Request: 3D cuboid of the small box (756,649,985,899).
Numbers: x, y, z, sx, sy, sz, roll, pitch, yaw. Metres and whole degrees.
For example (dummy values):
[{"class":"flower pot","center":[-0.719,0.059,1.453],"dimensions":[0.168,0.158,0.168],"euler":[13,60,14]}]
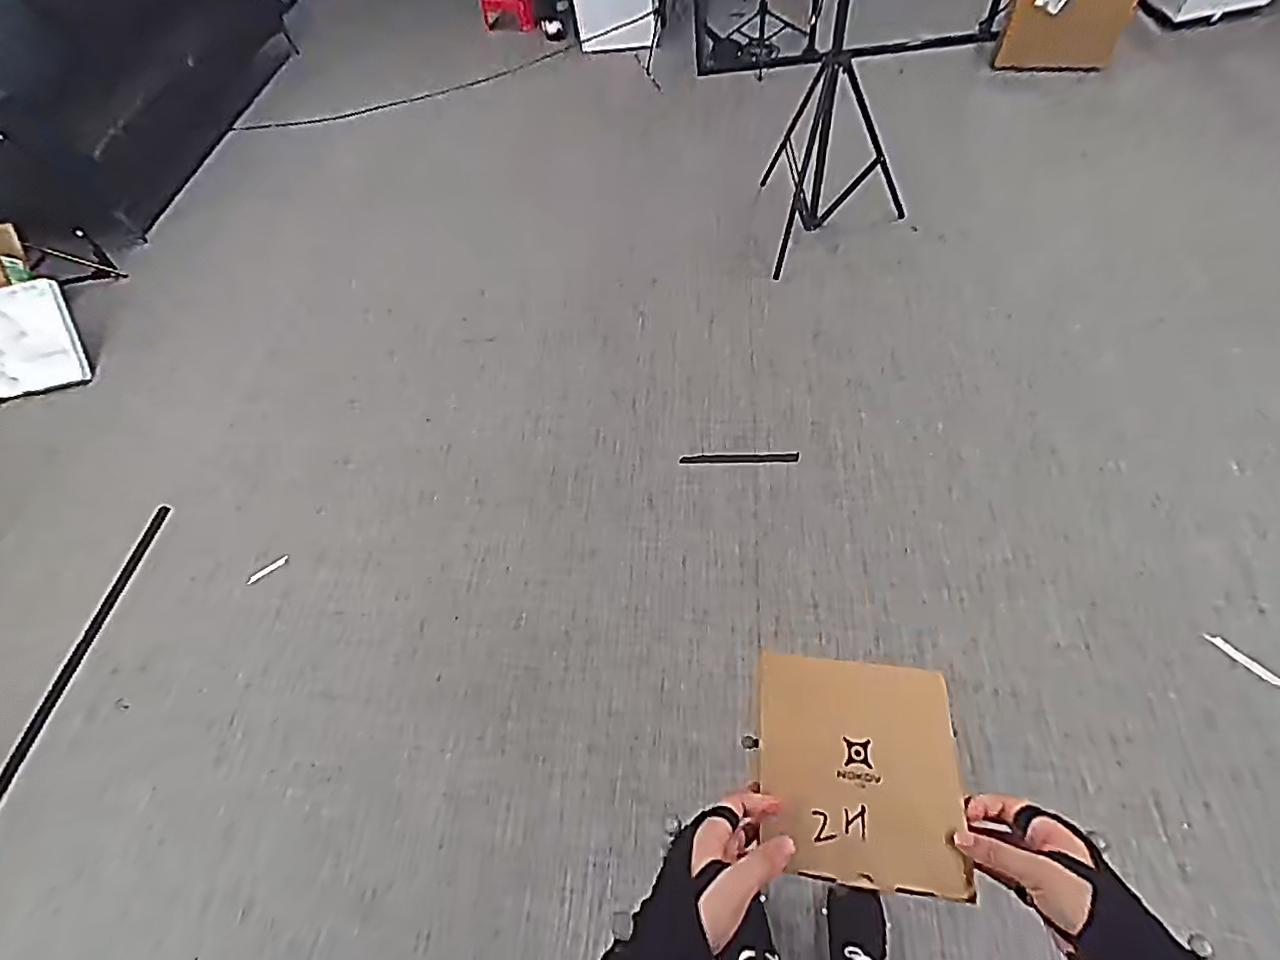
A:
[{"class":"small box","center":[0.203,0.281,0.534],"dimensions":[0.168,0.176,0.179],"euler":[2,60,10]}]
